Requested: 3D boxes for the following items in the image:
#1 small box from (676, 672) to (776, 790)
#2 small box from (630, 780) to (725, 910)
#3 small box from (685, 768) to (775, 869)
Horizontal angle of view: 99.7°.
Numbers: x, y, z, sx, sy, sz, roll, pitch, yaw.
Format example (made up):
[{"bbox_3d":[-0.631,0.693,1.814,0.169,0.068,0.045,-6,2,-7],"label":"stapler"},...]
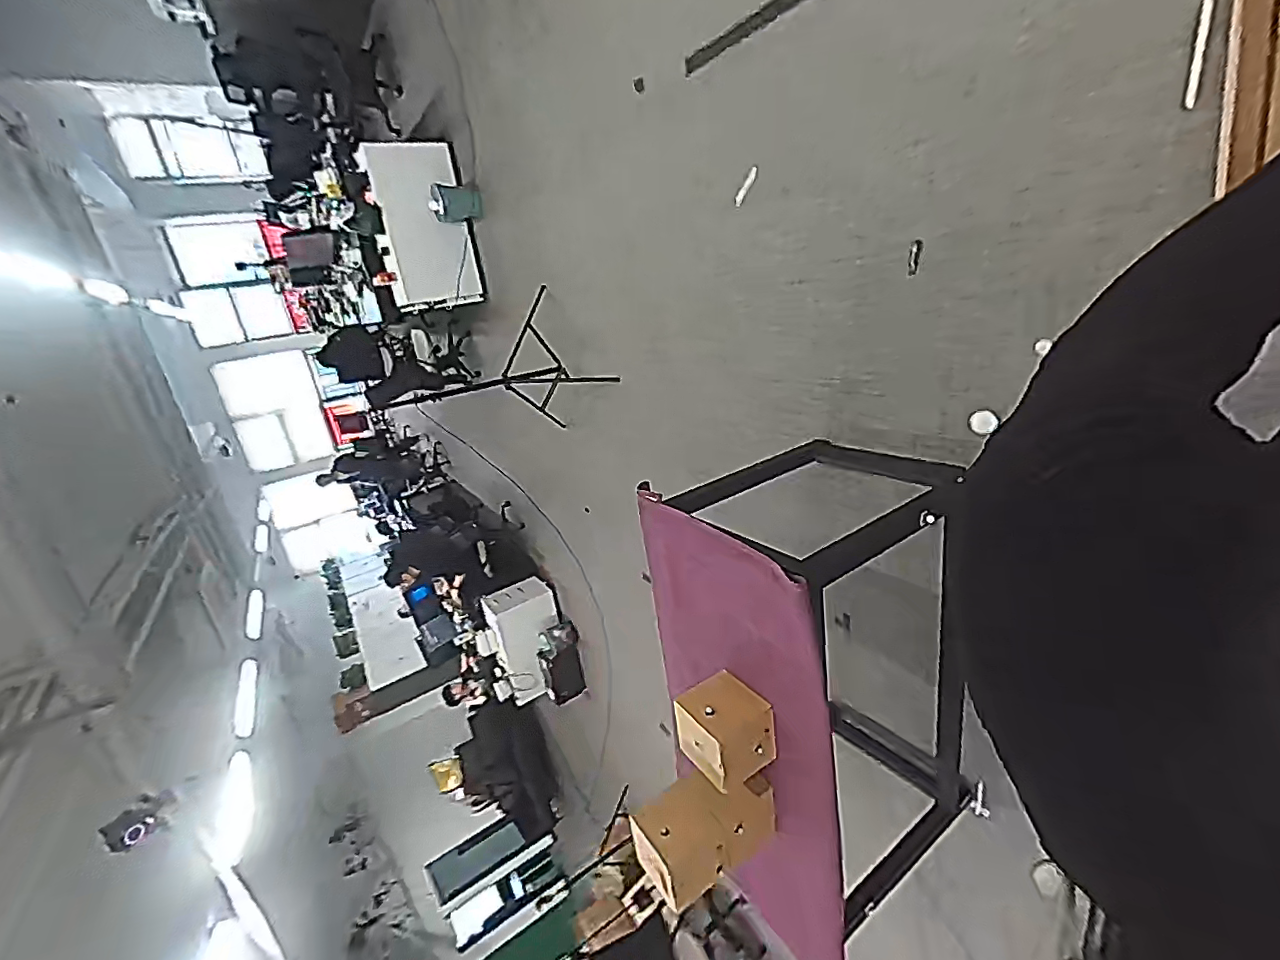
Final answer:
[{"bbox_3d":[0.210,0.602,1.327,0.179,0.176,0.168,23,127,55],"label":"small box"},{"bbox_3d":[0.101,0.908,1.364,0.179,0.176,0.168,21,125,56],"label":"small box"},{"bbox_3d":[0.242,0.860,1.435,0.168,0.176,0.179,24,127,55],"label":"small box"}]
